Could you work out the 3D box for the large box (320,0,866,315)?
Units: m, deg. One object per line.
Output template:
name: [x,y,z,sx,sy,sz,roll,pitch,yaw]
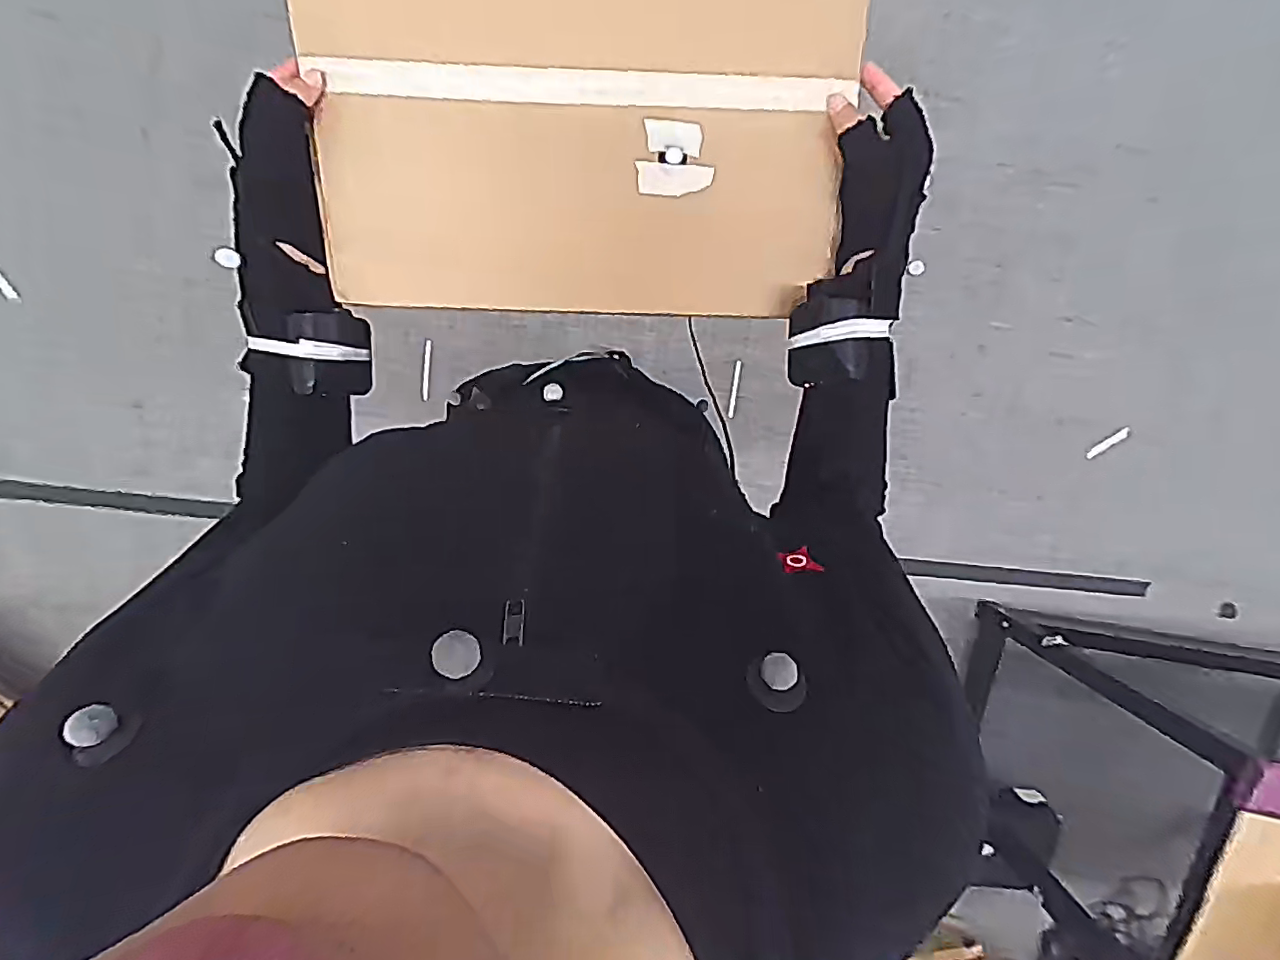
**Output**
large box: [-0.042,-0.336,0.551,0.408,0.320,0.320,1,109,-4]
